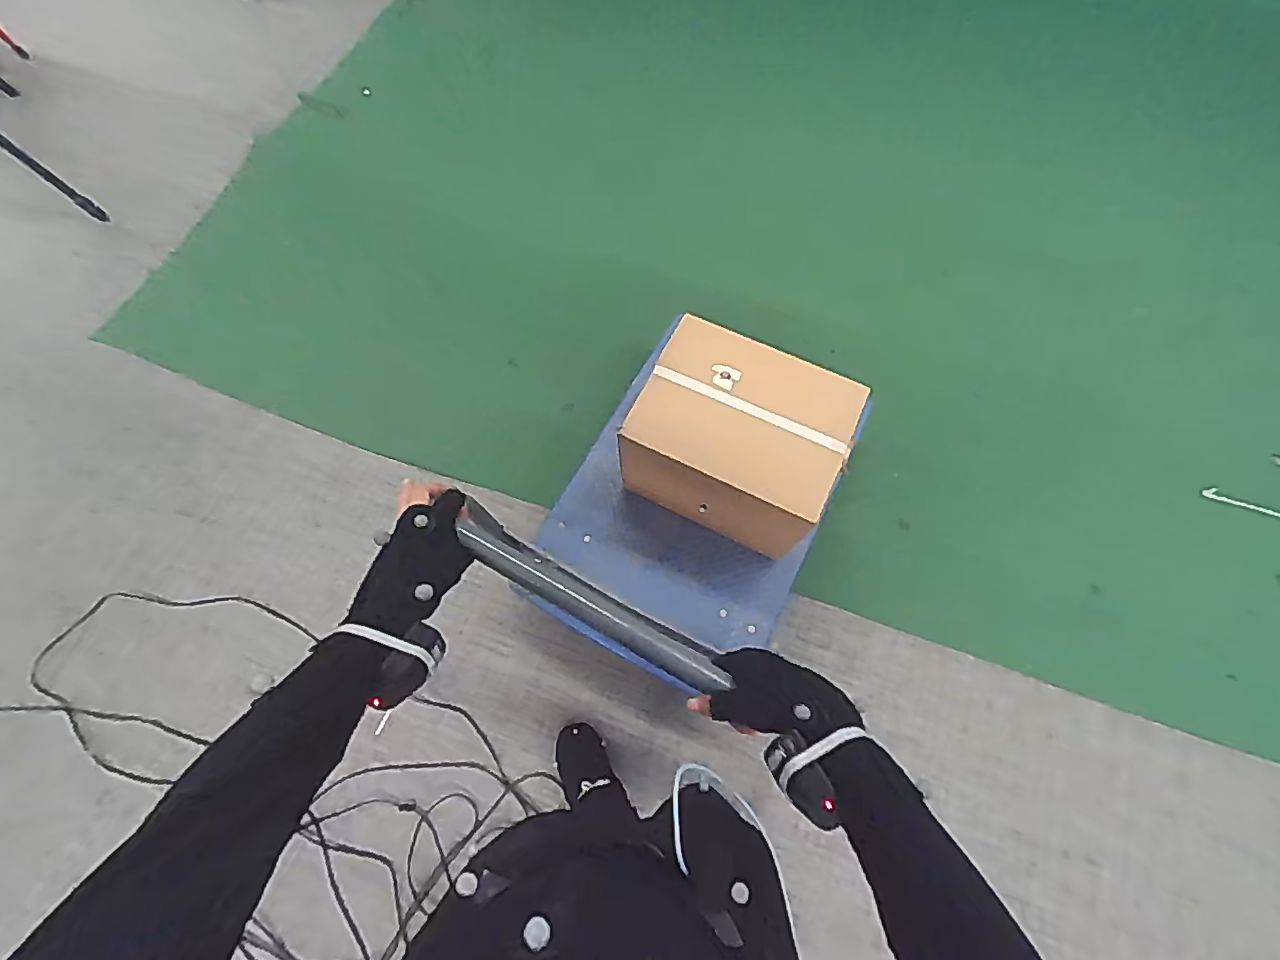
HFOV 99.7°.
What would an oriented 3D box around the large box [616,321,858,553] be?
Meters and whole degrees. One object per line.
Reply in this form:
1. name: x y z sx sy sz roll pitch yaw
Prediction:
1. large box: 0.199 -0.079 1.200 0.408 0.320 0.320 25 71 10
